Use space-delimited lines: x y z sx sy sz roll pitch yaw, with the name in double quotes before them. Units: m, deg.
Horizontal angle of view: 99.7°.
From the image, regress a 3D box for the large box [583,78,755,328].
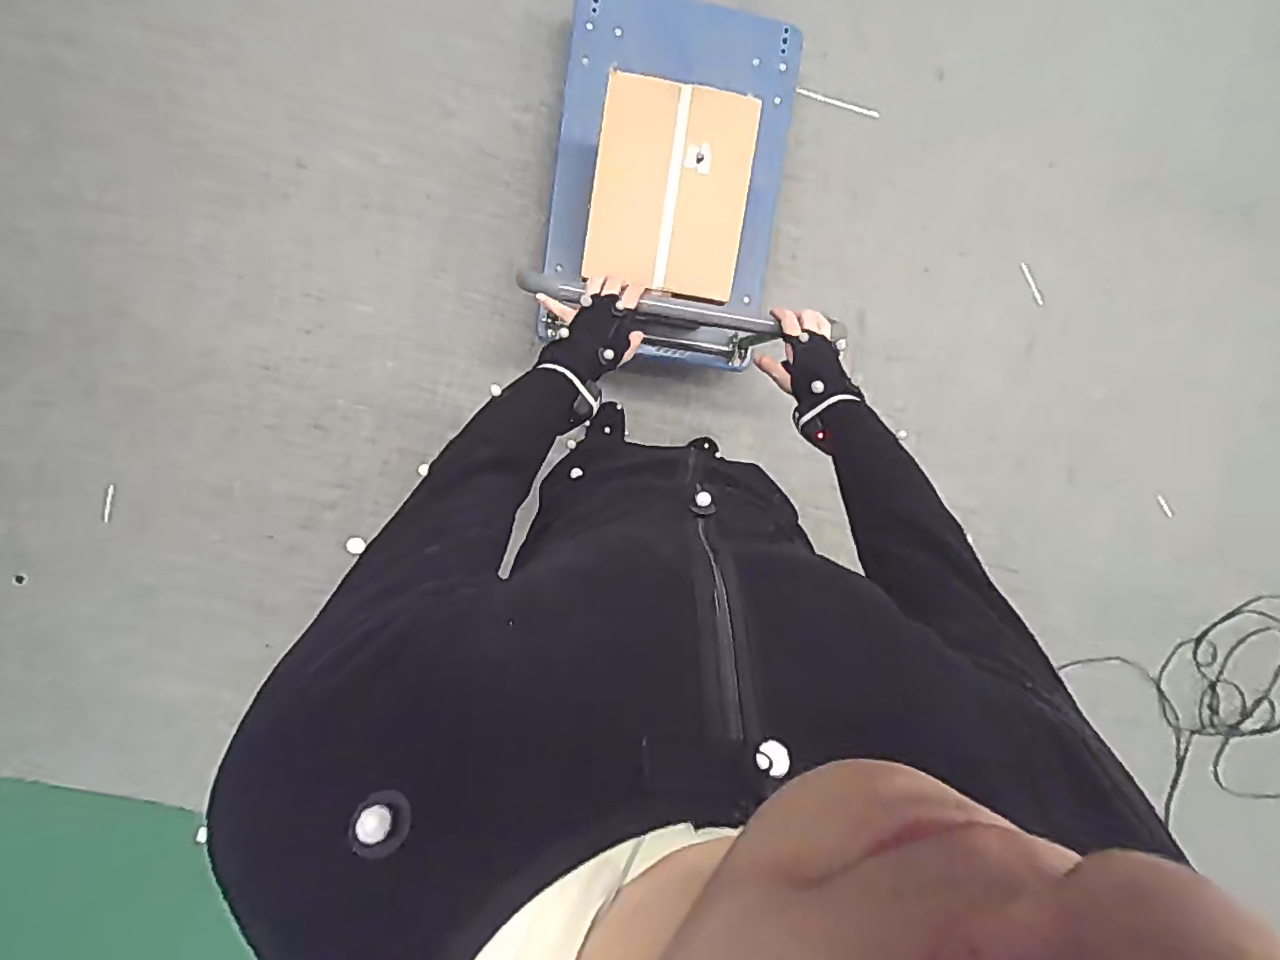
"large box" 0.049 -0.595 1.245 0.320 0.320 0.408 8 94 -6
